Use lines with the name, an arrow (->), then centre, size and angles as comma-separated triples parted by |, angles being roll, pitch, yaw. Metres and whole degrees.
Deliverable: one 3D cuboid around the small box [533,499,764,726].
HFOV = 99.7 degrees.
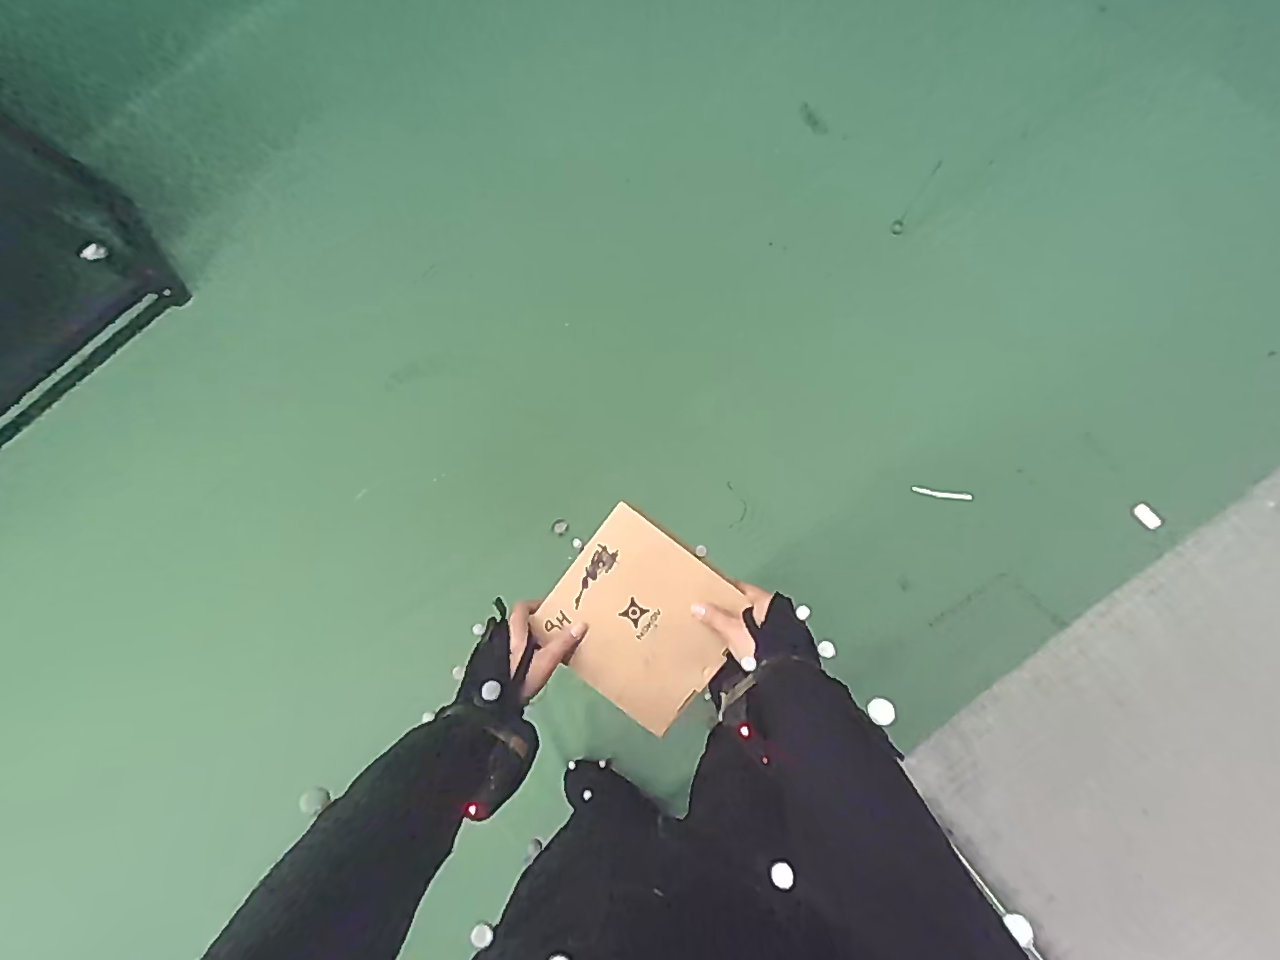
small box -> 0.010, 0.133, 0.621 | 0.179, 0.176, 0.168 | 38, 89, 2
